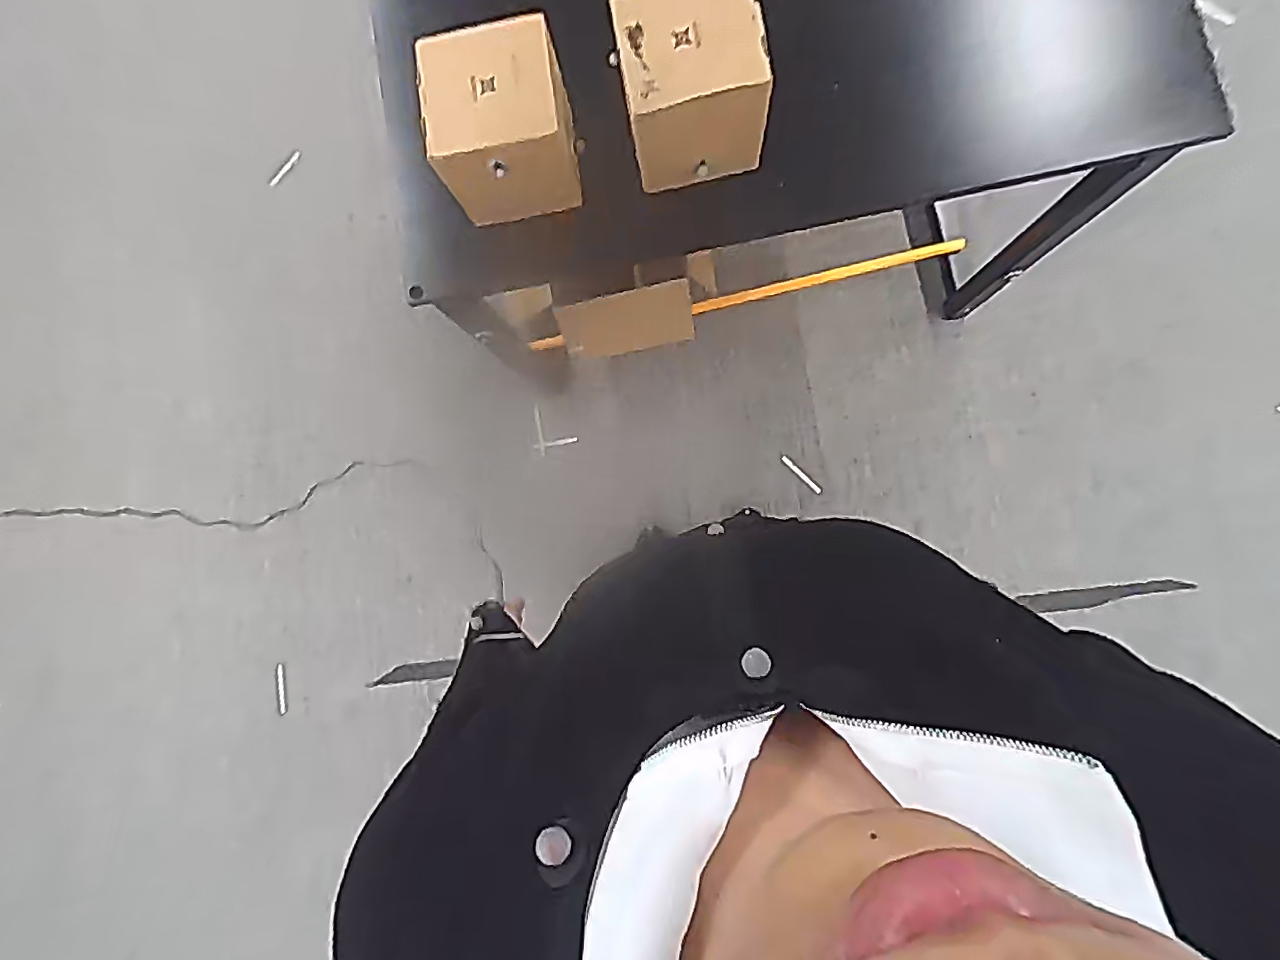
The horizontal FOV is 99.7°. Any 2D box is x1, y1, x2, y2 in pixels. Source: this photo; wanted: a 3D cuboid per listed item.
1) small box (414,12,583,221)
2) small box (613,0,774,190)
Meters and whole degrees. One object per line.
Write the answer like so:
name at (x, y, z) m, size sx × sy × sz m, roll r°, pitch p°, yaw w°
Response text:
small box at (-0.190, -0.495, 0.765) m, size 0.179 × 0.176 × 0.168 m, roll -9°, pitch 86°, yaw 4°
small box at (0.070, -0.536, 0.741) m, size 0.179 × 0.176 × 0.168 m, roll -11°, pitch 84°, yaw 4°
